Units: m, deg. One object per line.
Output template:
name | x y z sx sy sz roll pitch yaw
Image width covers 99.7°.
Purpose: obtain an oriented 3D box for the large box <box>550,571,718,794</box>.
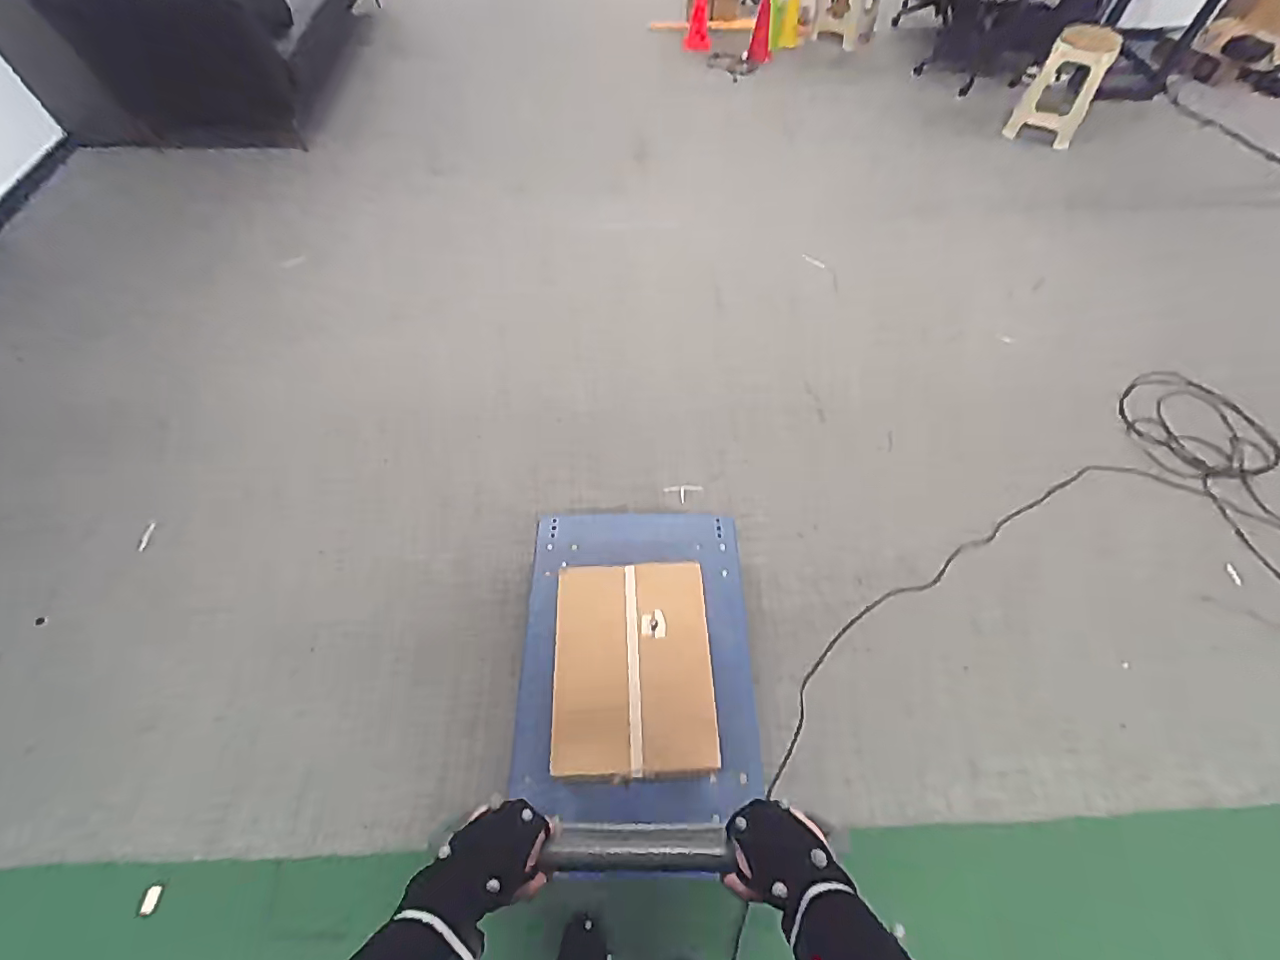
large box | -0.018 0.458 1.212 0.320 0.320 0.408 -2 57 -2
